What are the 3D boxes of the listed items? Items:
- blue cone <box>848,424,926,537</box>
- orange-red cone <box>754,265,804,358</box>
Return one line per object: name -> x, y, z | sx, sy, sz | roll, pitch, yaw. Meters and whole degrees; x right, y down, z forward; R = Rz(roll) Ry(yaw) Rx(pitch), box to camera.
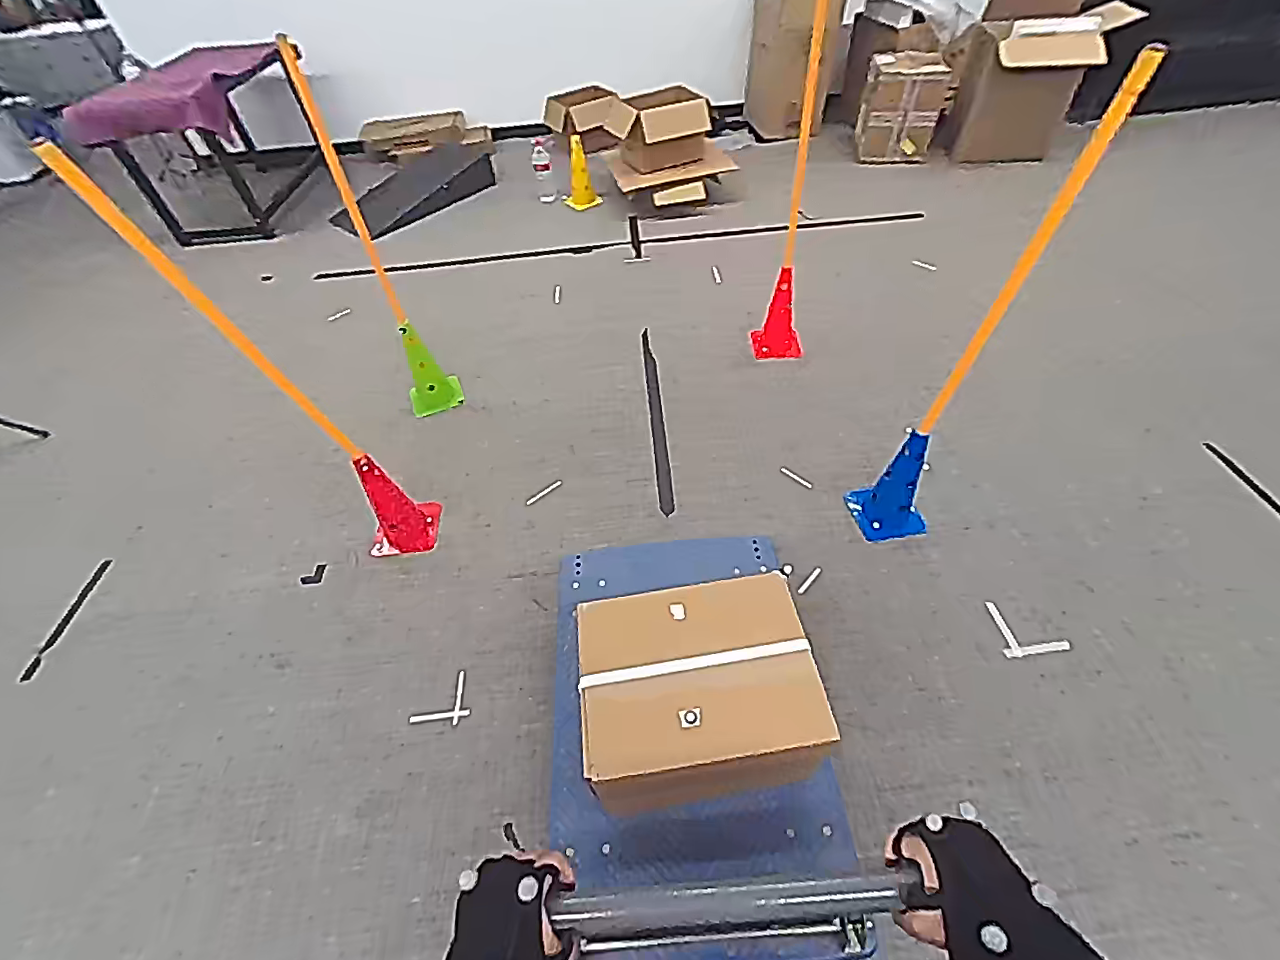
blue cone -> 0.773, -0.010, 1.598 | 0.193, 0.380, 0.192 | -8, 48, -3
orange-red cone -> 0.582, -0.691, 2.173 | 0.199, 0.360, 0.198 | 0, 50, 4
